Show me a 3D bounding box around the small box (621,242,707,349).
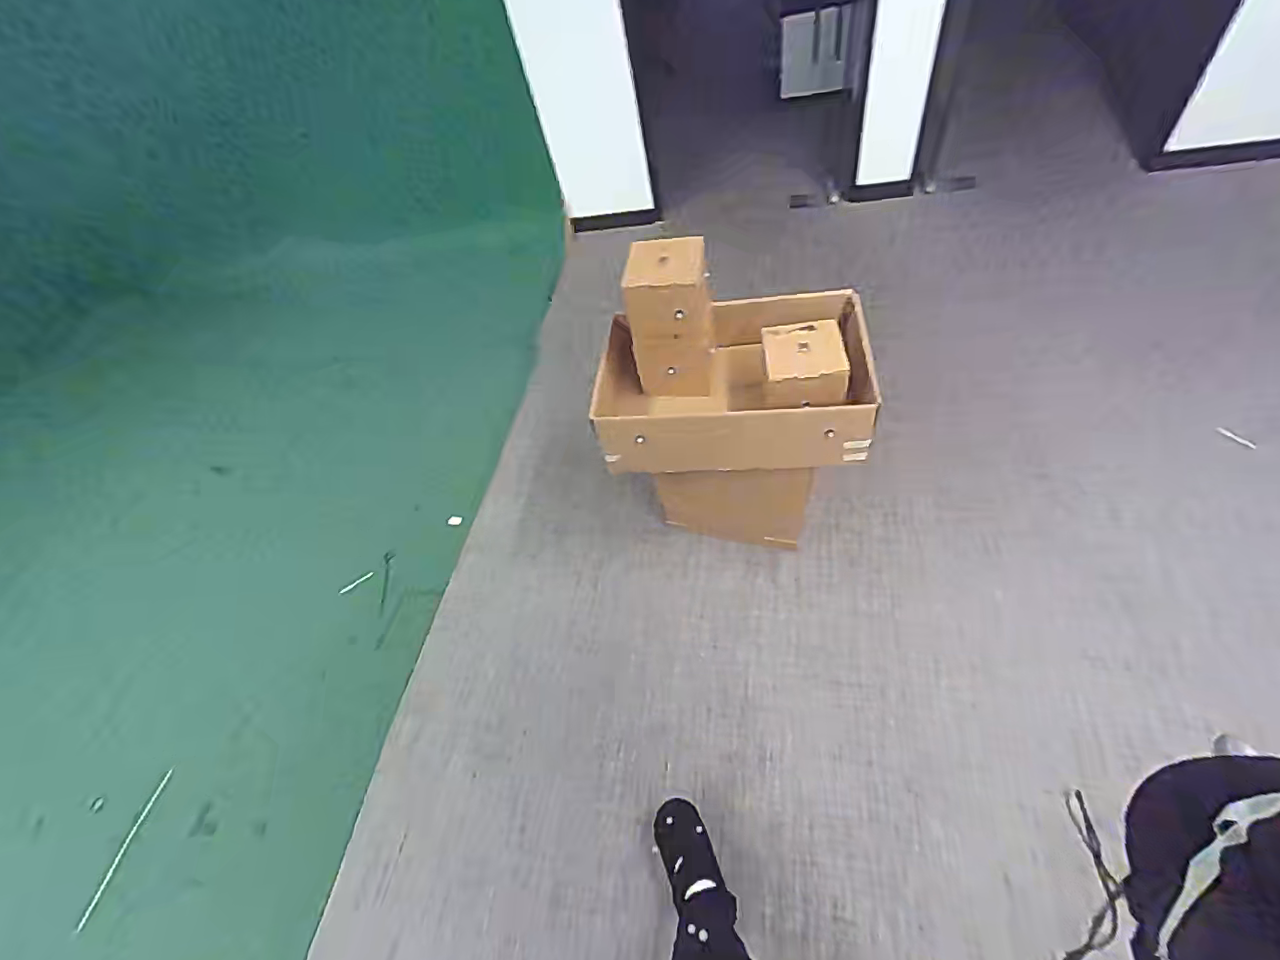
[{"bbox_3d":[0.064,-0.417,1.245,0.168,0.176,0.179,1,53,12],"label":"small box"}]
